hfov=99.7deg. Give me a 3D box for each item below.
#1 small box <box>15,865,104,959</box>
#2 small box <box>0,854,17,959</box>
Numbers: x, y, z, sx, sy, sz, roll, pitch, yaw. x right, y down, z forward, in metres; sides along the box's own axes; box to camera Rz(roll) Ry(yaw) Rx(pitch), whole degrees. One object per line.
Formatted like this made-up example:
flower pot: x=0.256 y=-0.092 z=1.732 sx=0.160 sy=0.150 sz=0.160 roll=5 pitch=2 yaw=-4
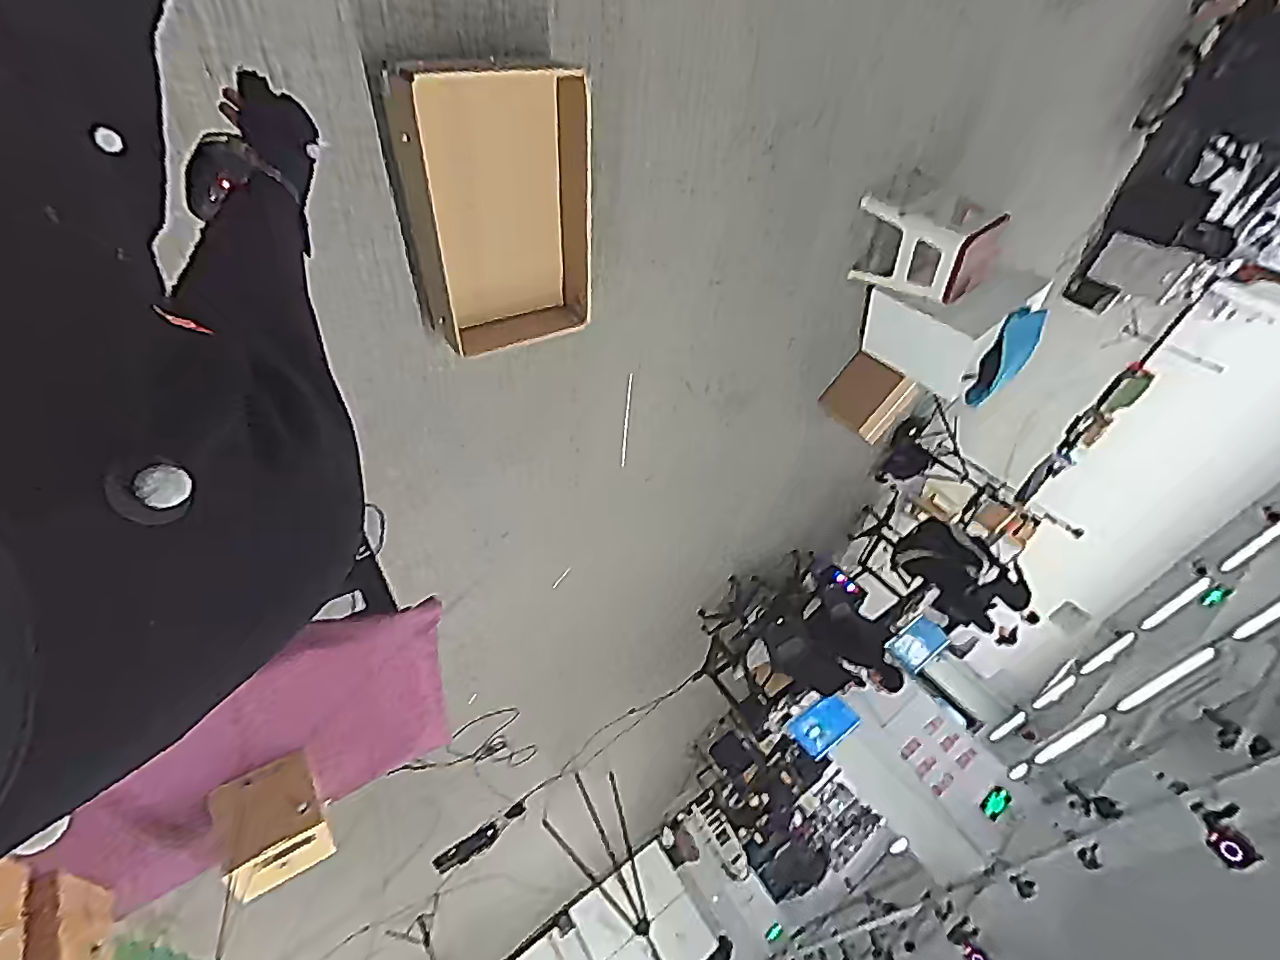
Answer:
small box: x=-1.055 y=0.802 z=0.919 sx=0.168 sy=0.176 sz=0.179 roll=-21 pitch=140 yaw=-31
small box: x=-1.039 y=0.644 z=0.761 sx=0.168 sy=0.176 sz=0.179 roll=-19 pitch=140 yaw=-33
